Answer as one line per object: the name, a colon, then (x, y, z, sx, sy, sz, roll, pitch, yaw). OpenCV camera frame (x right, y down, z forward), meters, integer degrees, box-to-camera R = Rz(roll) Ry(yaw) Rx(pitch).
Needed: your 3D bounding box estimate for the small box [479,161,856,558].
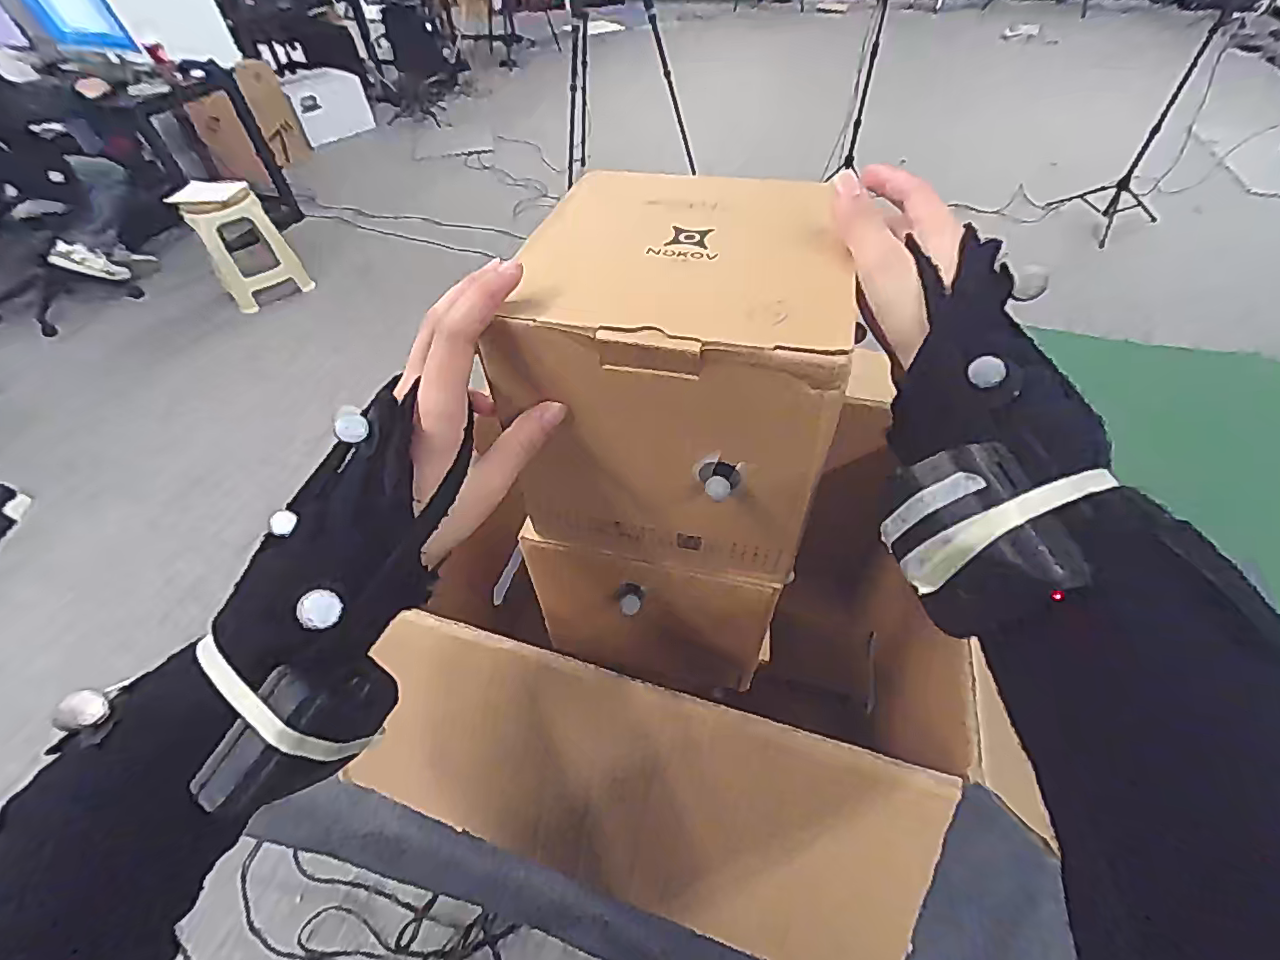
small box: (0.028, -0.075, 0.337, 0.168, 0.176, 0.179, 10, 48, 10)
